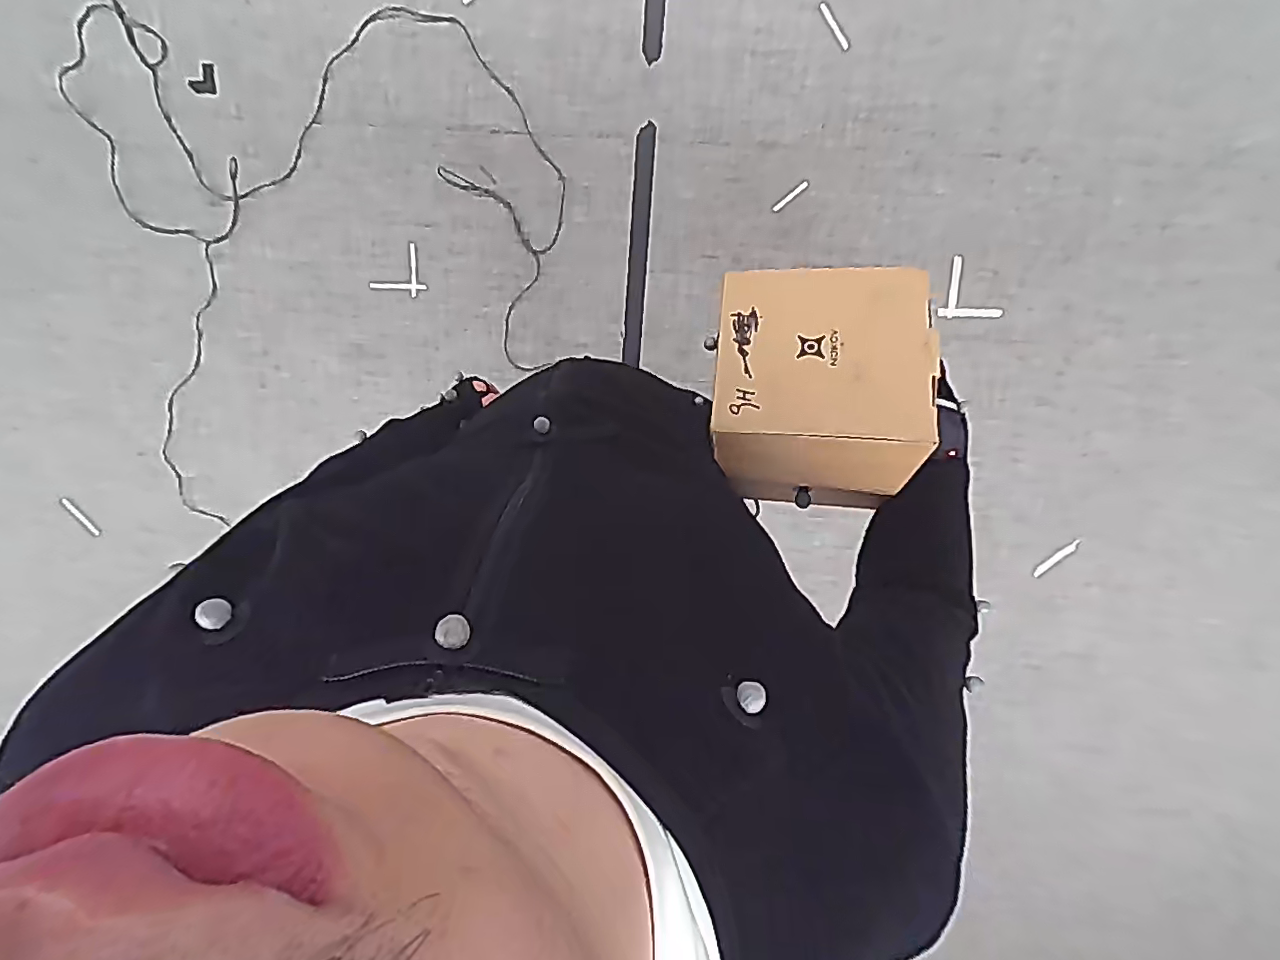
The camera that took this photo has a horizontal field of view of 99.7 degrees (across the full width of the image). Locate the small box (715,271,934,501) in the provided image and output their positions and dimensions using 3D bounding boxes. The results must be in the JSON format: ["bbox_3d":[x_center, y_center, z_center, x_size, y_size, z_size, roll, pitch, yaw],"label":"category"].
[{"bbox_3d":[0.171,-0.084,0.543,0.179,0.176,0.168,4,69,11],"label":"small box"}]
